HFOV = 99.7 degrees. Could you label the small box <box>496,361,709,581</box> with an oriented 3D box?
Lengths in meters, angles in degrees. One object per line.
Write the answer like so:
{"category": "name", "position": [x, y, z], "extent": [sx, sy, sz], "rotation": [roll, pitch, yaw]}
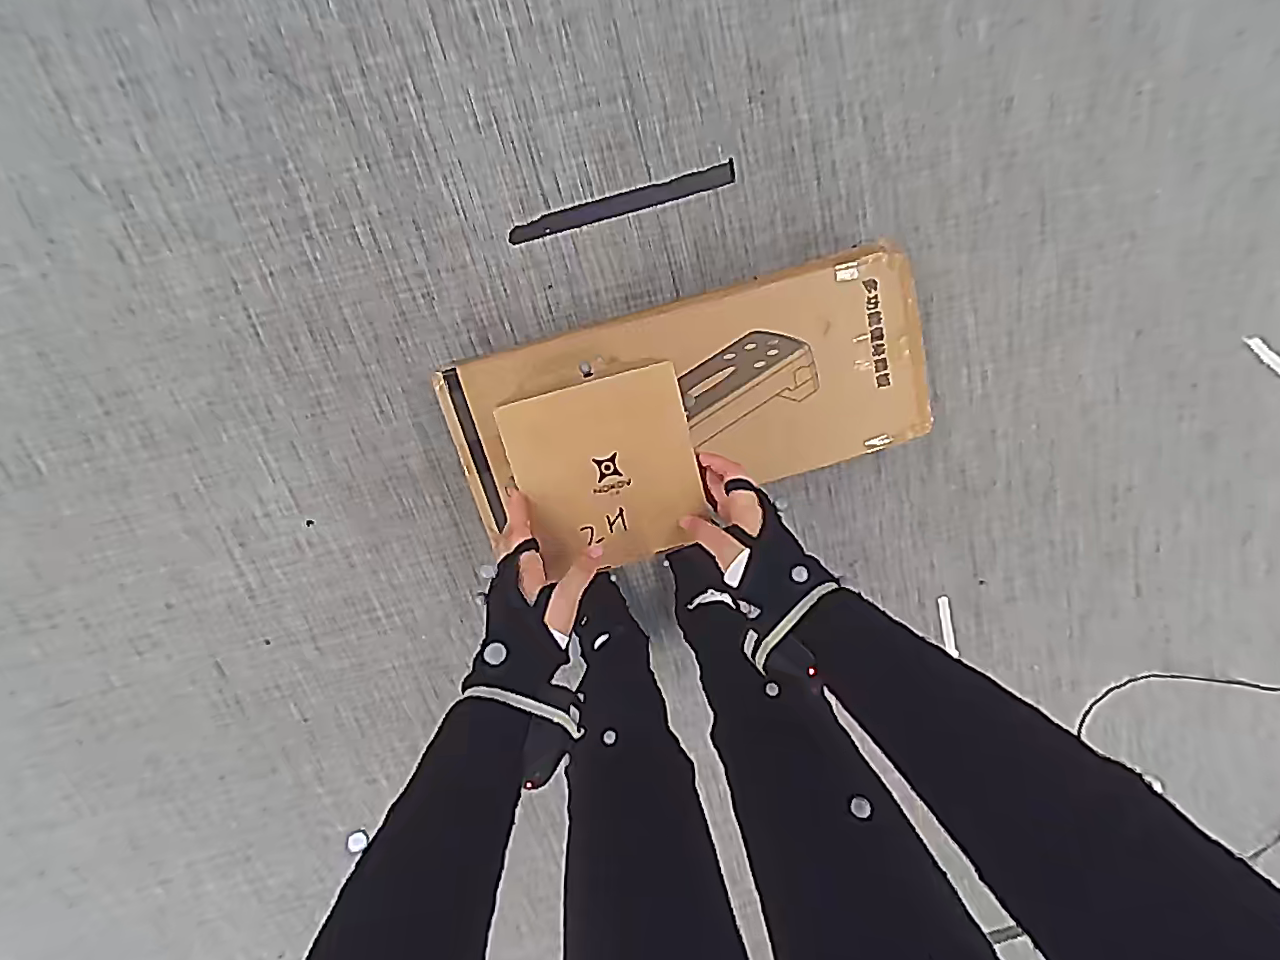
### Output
{"category": "small box", "position": [-0.039, -0.022, 0.576], "extent": [0.168, 0.176, 0.179], "rotation": [-15, 105, -2]}
